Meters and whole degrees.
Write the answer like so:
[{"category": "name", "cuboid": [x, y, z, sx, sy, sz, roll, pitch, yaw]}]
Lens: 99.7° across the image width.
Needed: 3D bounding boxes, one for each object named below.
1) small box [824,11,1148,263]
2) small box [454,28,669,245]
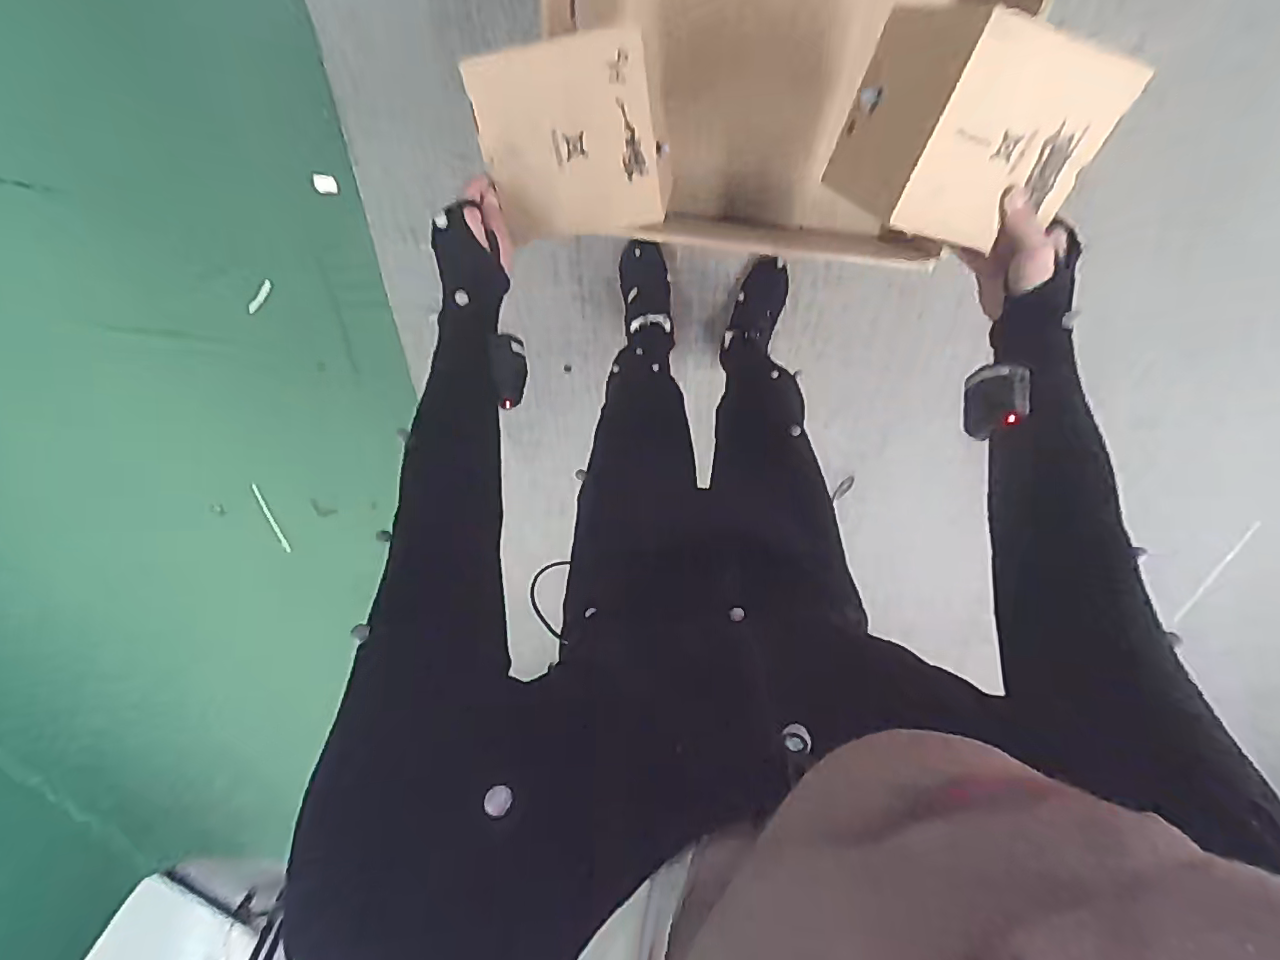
[{"category": "small box", "cuboid": [0.321, -0.344, 0.545, 0.179, 0.176, 0.168, 7, 128, -14]}, {"category": "small box", "cuboid": [-0.069, -0.375, 0.598, 0.179, 0.176, 0.168, -3, 127, 11]}]
